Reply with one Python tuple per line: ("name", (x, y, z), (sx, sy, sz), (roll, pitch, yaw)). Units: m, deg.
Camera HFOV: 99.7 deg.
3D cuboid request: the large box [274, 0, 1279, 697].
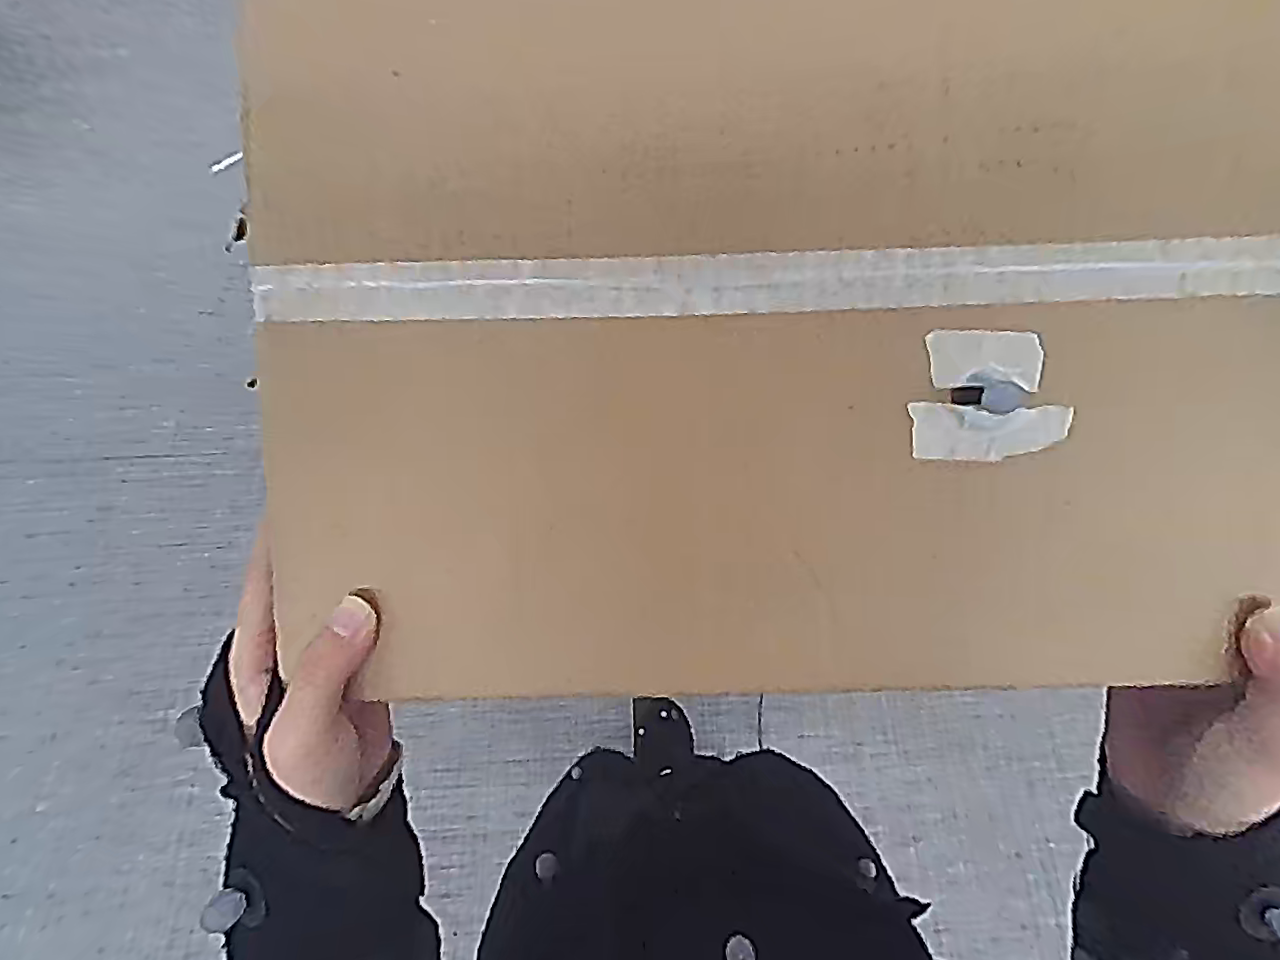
("large box", (0.057, -0.078, 0.364), (0.408, 0.320, 0.320), (-2, 93, -1))
